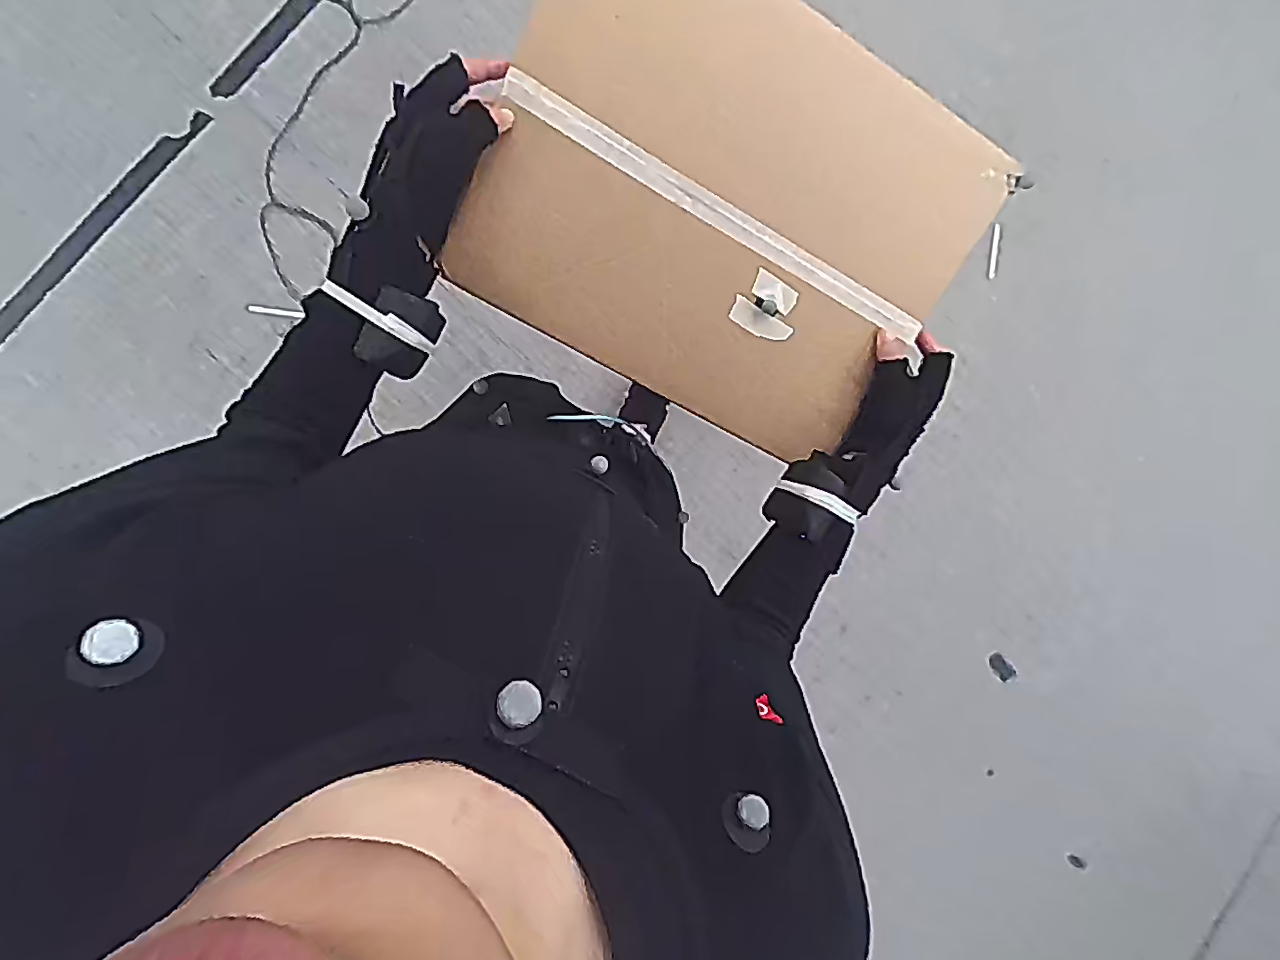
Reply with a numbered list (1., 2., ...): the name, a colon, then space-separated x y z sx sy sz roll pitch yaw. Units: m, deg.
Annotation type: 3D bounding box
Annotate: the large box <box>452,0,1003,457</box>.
1. large box: 0.065 -0.279 0.612 0.408 0.320 0.320 26 106 -12
